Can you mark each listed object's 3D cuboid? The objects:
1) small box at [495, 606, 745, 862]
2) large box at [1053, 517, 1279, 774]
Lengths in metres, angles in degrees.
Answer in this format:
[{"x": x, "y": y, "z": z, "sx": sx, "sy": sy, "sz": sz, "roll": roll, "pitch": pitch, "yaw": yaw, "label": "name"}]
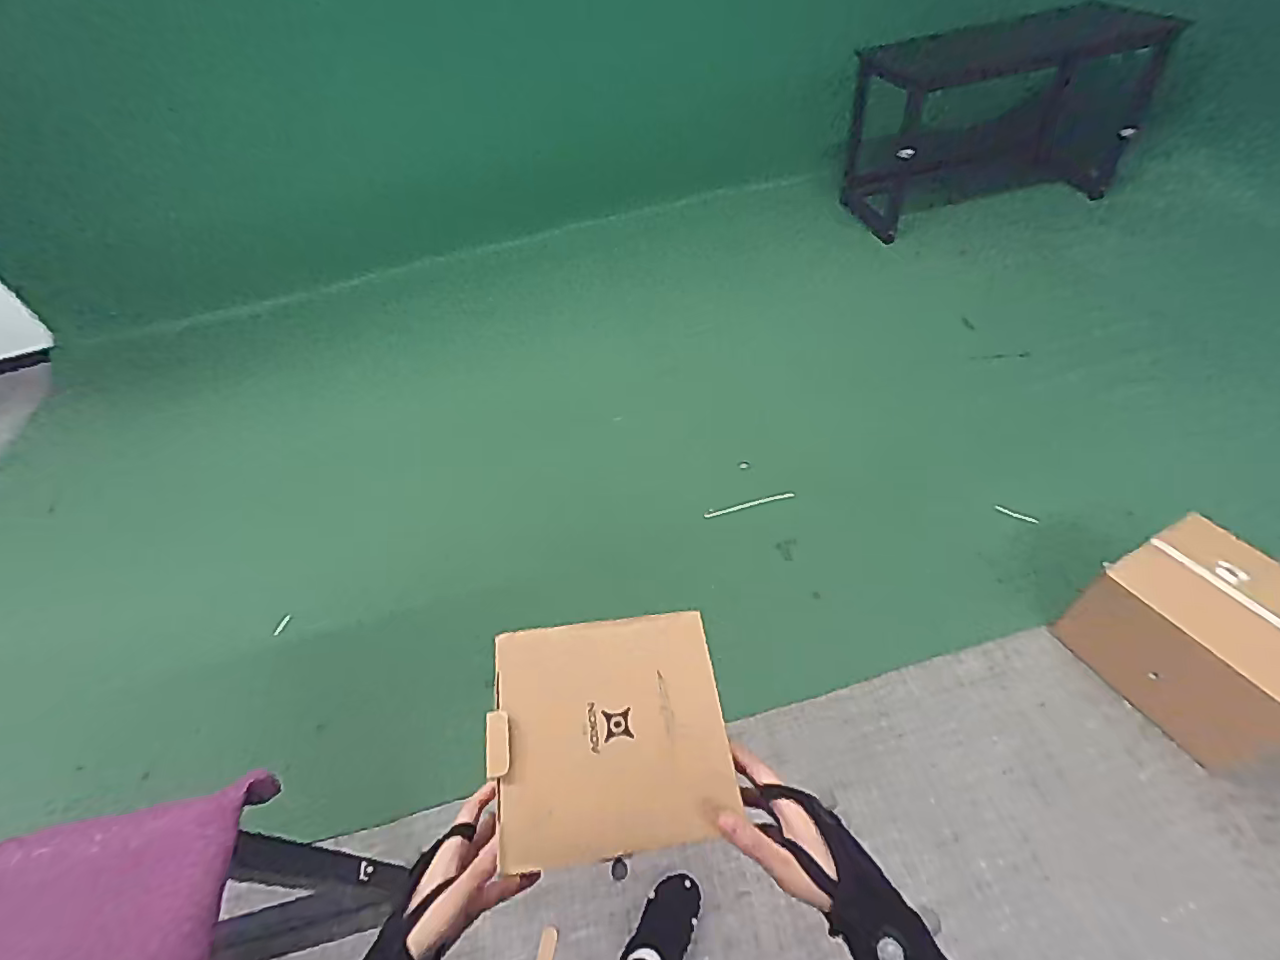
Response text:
[{"x": -0.024, "y": 0.228, "z": 0.478, "sx": 0.179, "sy": 0.176, "sz": 0.168, "roll": -5, "pitch": 57, "yaw": -7, "label": "small box"}, {"x": 1.296, "y": 0.369, "z": 1.238, "sx": 0.320, "sy": 0.320, "sz": 0.408, "roll": -25, "pitch": 48, "yaw": -12, "label": "large box"}]
